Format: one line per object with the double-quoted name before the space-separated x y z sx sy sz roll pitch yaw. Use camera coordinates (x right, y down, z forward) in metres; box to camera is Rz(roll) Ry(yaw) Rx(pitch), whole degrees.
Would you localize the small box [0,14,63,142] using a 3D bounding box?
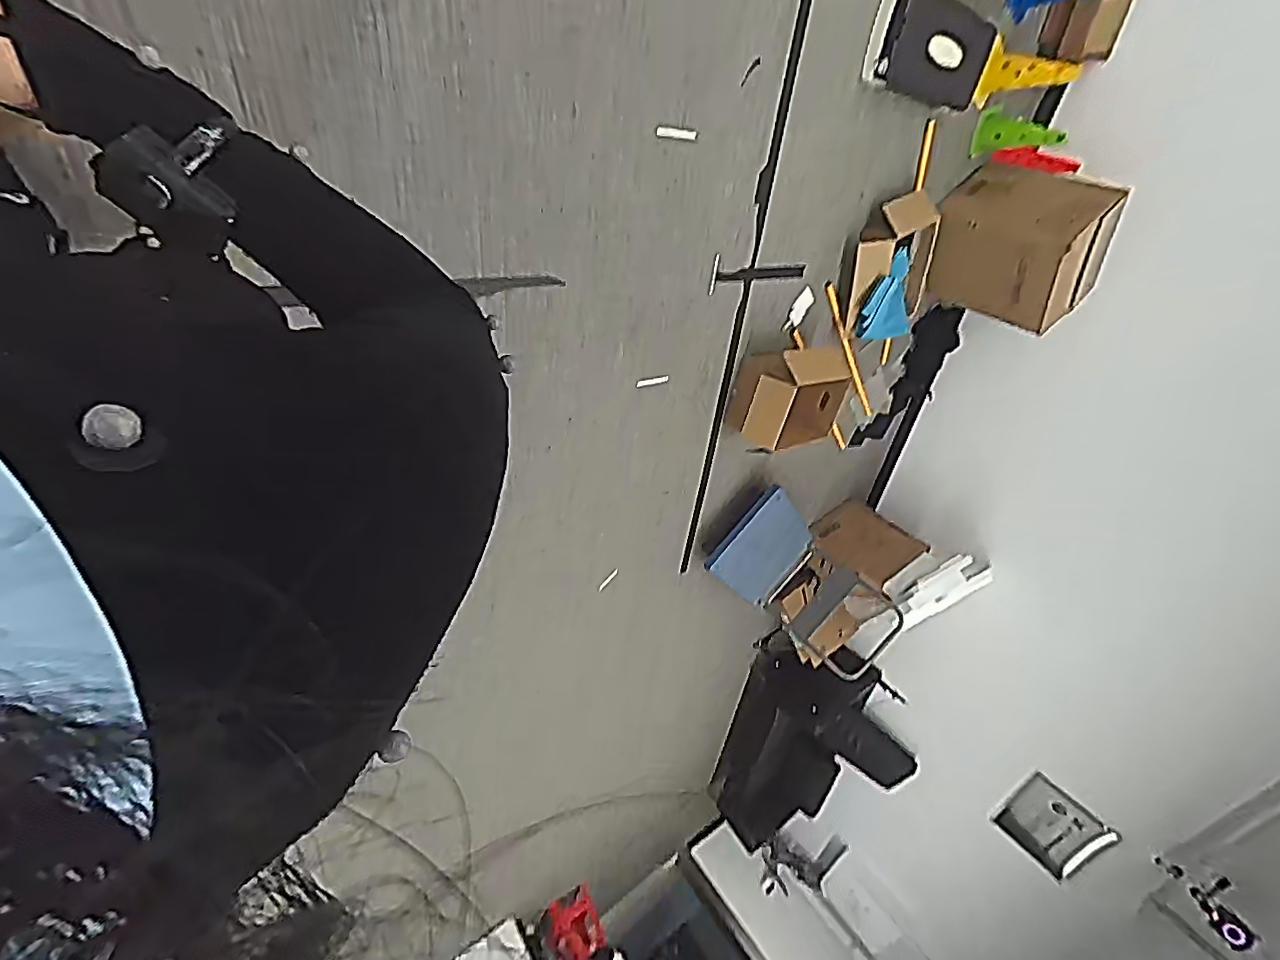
"small box" -0.521 -0.303 0.314 0.168 0.176 0.179 -26 112 -14
